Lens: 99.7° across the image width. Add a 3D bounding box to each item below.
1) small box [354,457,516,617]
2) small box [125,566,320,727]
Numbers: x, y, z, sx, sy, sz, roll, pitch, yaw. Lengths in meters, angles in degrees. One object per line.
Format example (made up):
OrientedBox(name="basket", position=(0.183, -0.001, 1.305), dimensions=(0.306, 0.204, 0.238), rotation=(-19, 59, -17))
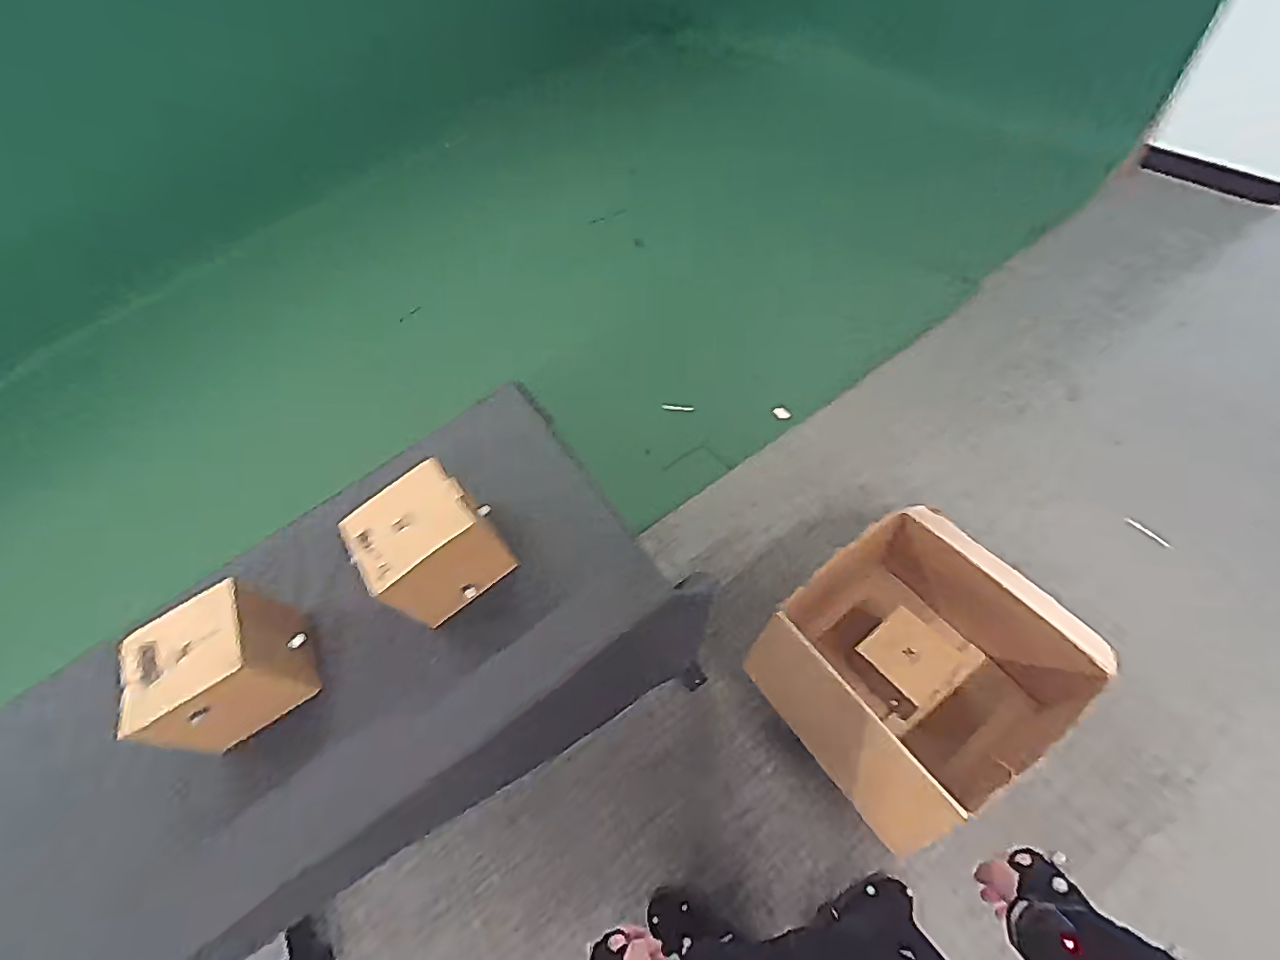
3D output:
OrientedBox(name="small box", position=(-0.333, 0.100, 0.915), dimensions=(0.179, 0.176, 0.168), rotation=(-39, 60, -11))
OrientedBox(name="small box", position=(-0.652, 0.271, 0.859), dimensions=(0.179, 0.176, 0.168), rotation=(-28, 59, -5))
